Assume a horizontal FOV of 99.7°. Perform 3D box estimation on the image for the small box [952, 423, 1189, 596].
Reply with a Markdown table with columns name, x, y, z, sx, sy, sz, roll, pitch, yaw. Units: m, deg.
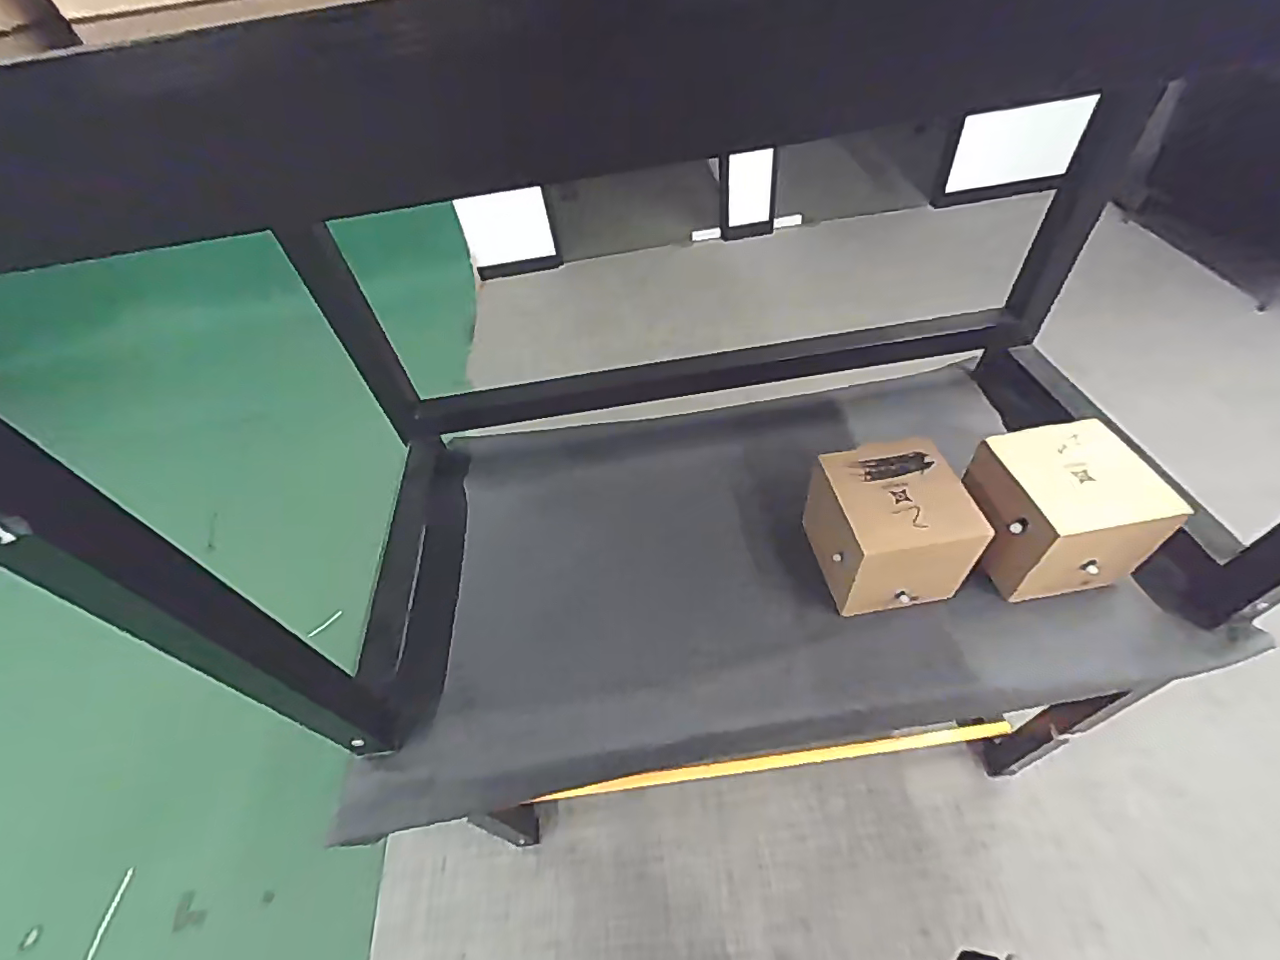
| name | x | y | z | sx | sy | sz | roll | pitch | yaw |
| --- | --- | --- | --- | --- | --- | --- | --- | --- | --- |
| small box | 0.584 | 0.049 | 0.767 | 0.168 | 0.176 | 0.179 | -10 | 48 | 0 |
